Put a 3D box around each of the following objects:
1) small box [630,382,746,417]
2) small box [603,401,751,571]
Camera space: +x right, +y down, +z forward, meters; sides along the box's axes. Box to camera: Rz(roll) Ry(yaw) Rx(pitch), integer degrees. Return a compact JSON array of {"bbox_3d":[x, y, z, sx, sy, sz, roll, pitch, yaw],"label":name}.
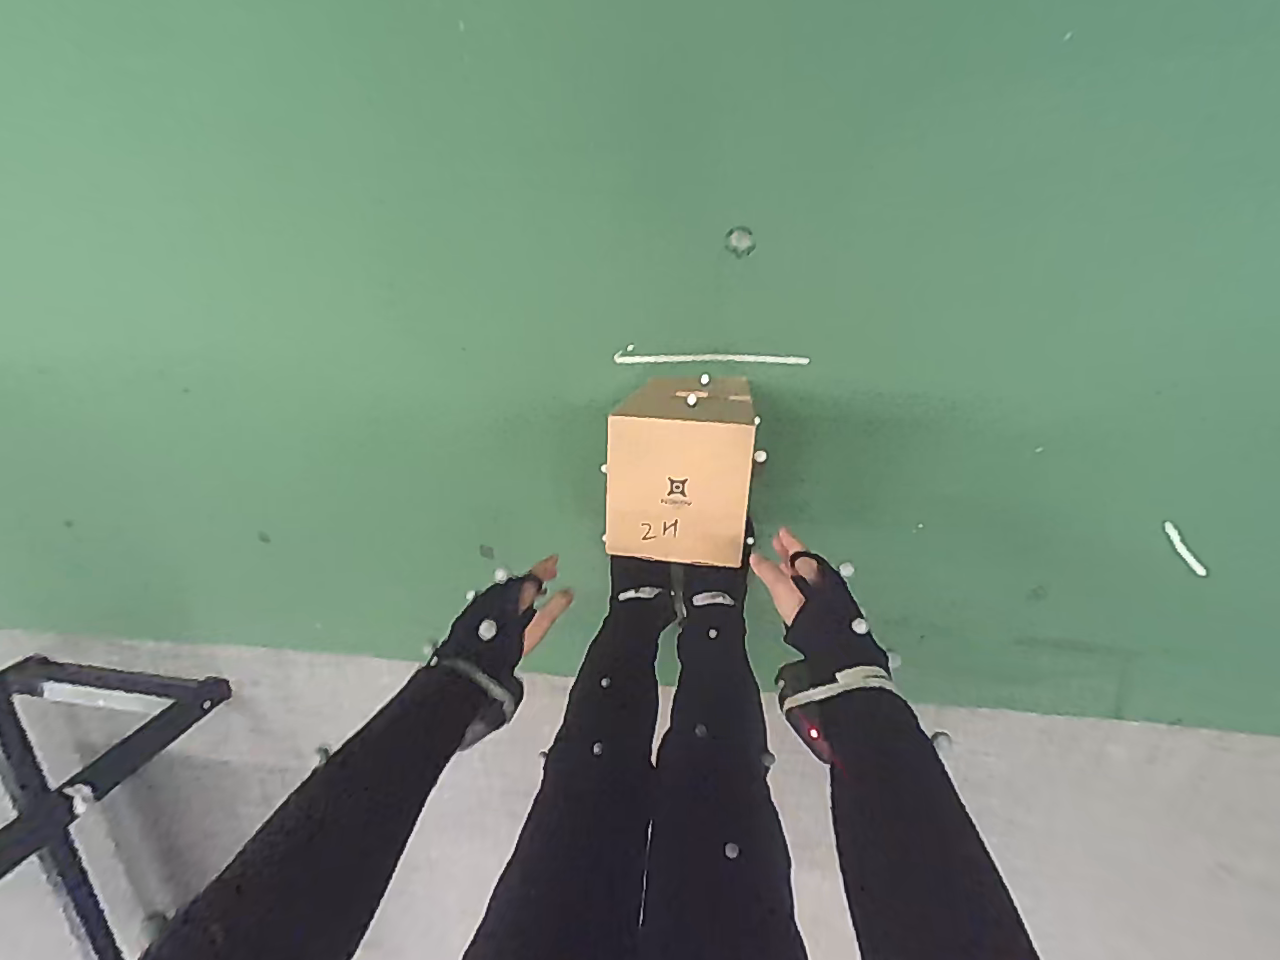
[{"bbox_3d":[0.080,-0.054,0.855,0.168,0.176,0.179,2,108,10],"label":"small box"},{"bbox_3d":[0.050,-0.004,0.700,0.168,0.176,0.179,4,109,9],"label":"small box"}]
